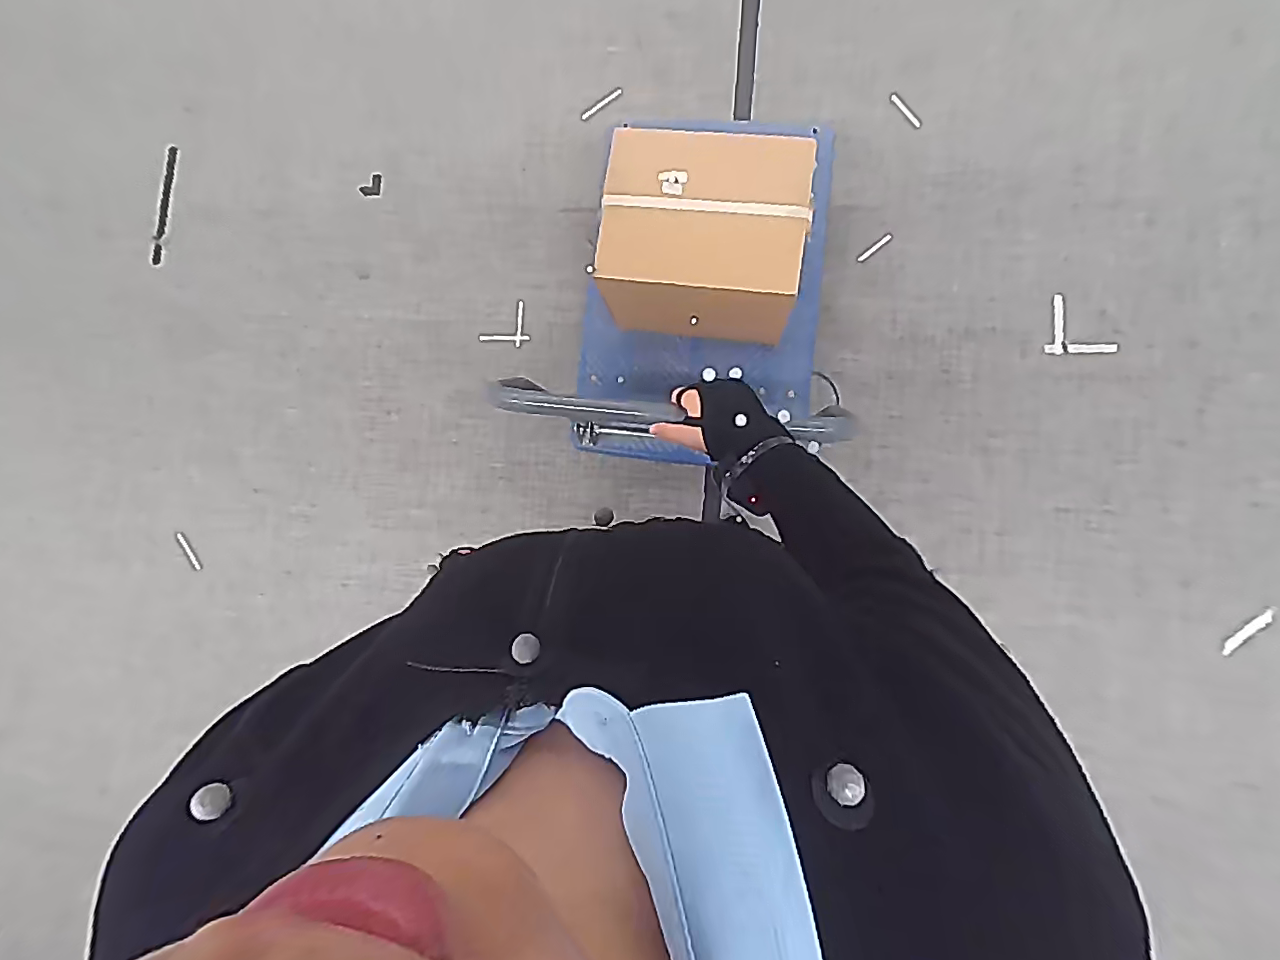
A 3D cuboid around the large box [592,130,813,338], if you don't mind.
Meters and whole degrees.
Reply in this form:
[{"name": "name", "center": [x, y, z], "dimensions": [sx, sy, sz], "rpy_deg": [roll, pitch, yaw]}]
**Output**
[{"name": "large box", "center": [0.140, -0.520, 1.194], "dimensions": [0.408, 0.320, 0.320], "rpy_deg": [7, 87, 9]}]
